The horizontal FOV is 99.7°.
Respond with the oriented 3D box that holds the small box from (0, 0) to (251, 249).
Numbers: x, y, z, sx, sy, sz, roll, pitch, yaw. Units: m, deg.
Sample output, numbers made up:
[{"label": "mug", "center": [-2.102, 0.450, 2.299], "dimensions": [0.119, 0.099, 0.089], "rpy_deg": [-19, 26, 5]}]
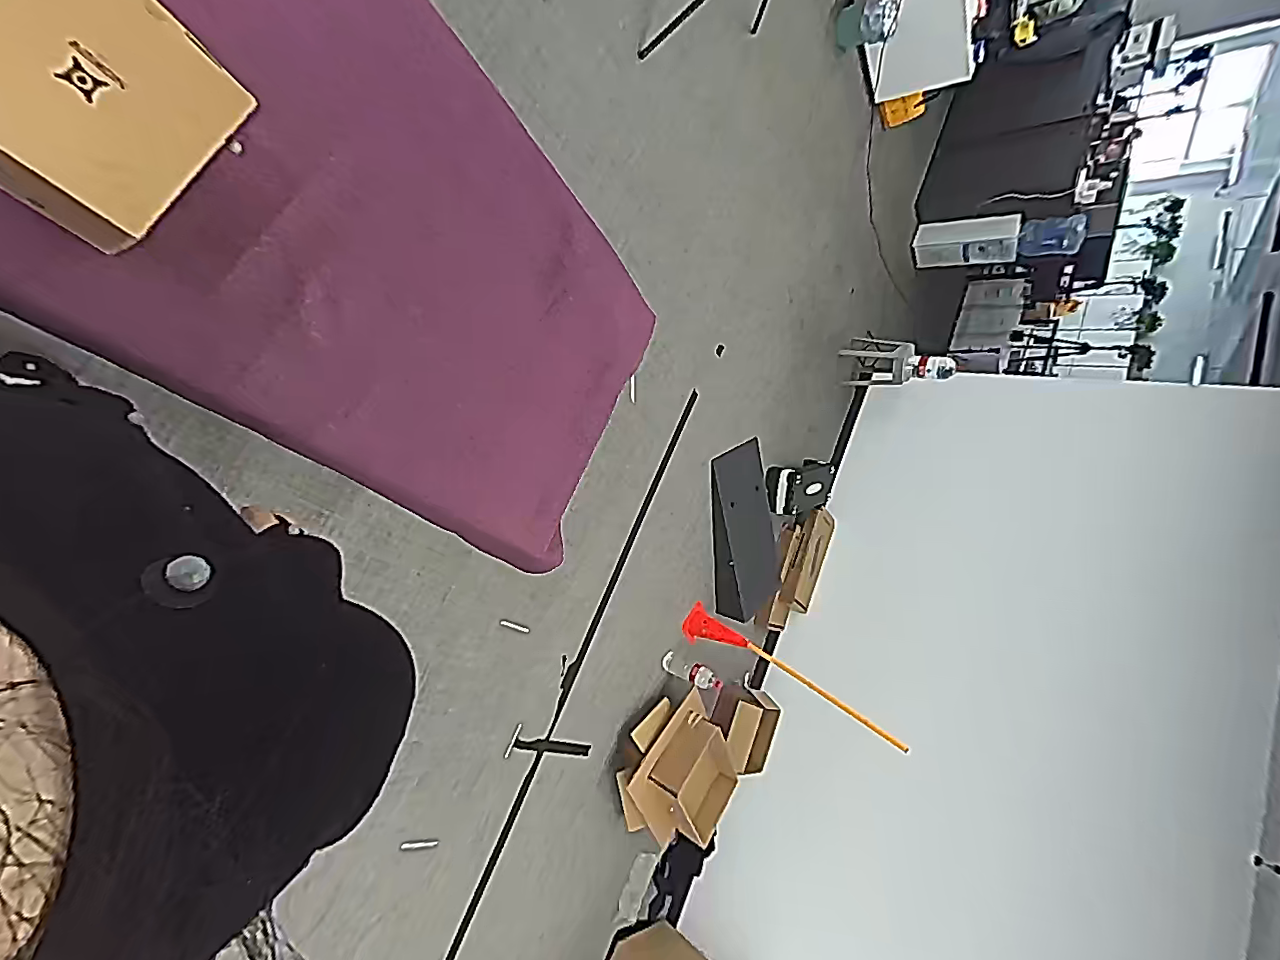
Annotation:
[{"label": "small box", "center": [-0.501, -0.331, 0.479], "dimensions": [0.168, 0.176, 0.179], "rpy_deg": [42, 66, -48]}]
